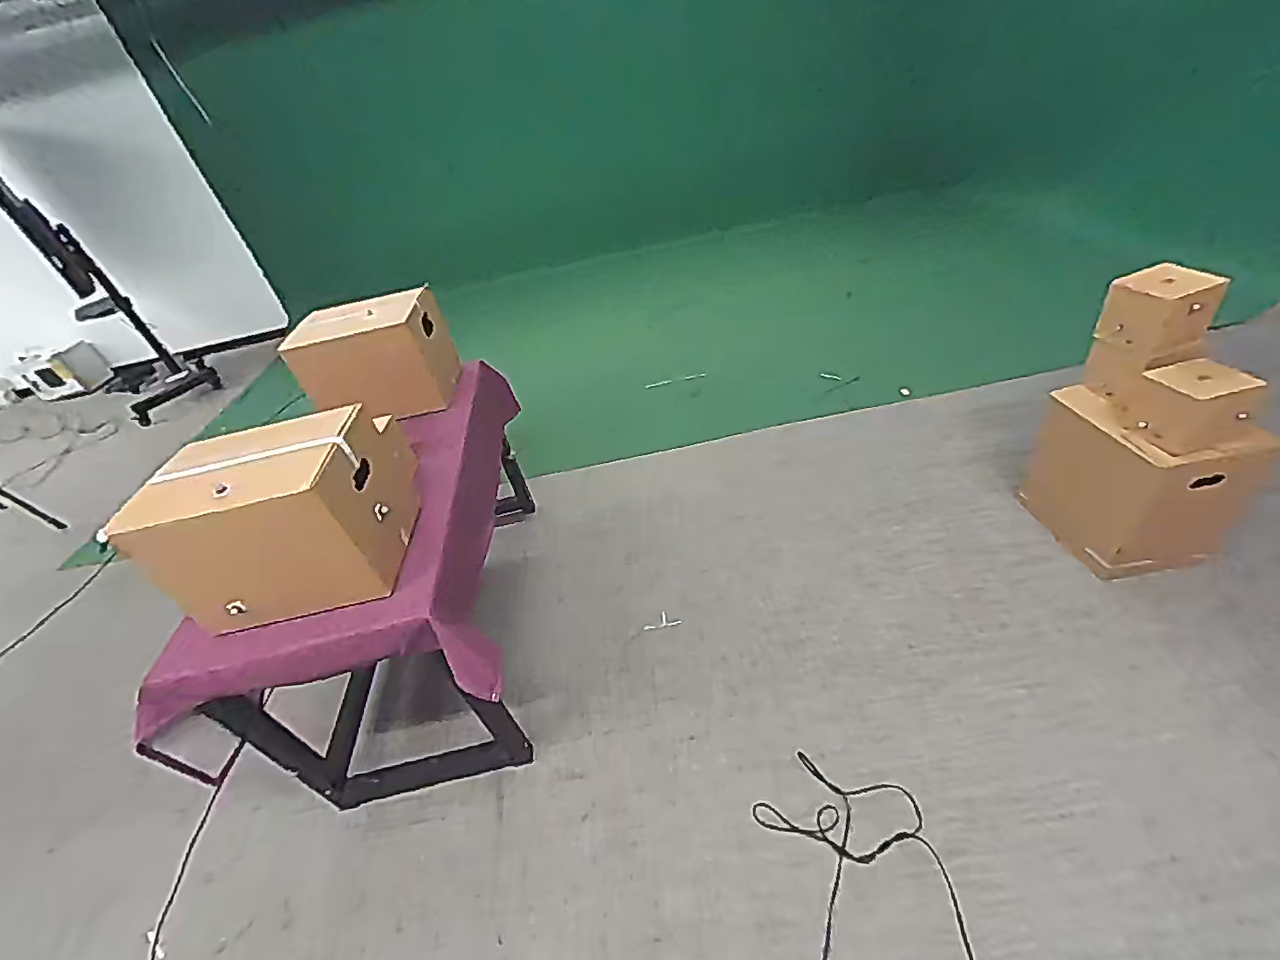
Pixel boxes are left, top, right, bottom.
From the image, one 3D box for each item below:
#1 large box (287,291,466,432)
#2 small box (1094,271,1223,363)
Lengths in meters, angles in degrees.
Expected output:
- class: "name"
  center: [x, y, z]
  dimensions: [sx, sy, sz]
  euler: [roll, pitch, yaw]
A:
- class: "large box"
  center: [-0.855, -0.399, 1.819]
  dimensions: [0.408, 0.320, 0.320]
  euler: [-11, 38, 2]
- class: "small box"
  center: [1.422, -0.451, 1.500]
  dimensions: [0.179, 0.176, 0.168]
  euler: [-19, 39, -4]
